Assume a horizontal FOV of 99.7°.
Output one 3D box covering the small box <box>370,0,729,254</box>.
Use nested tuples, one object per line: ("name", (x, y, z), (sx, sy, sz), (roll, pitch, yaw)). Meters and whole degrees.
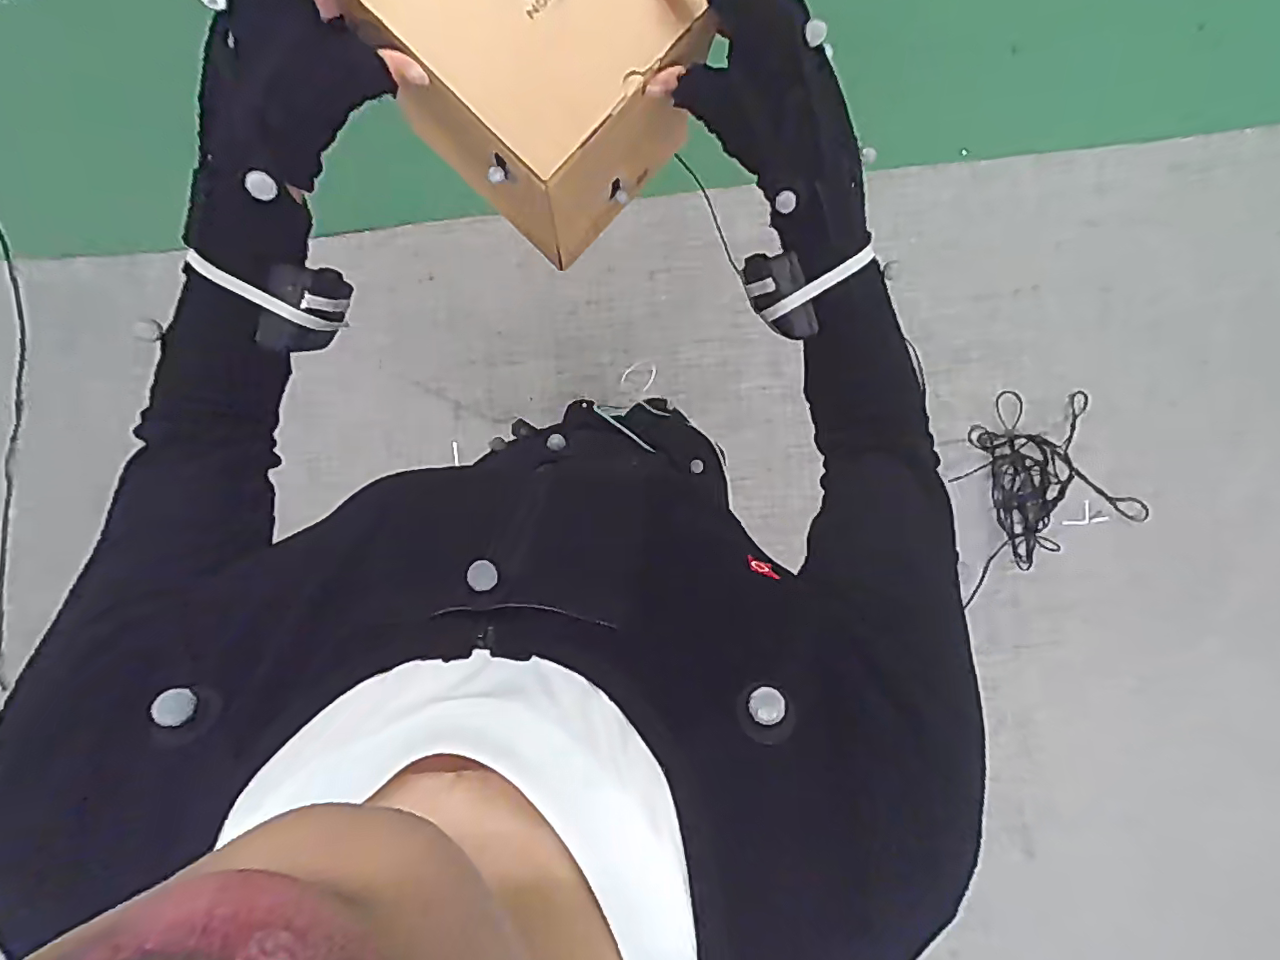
("small box", (-0.068, -0.309, 0.409), (0.179, 0.176, 0.168), (44, 89, -8))
